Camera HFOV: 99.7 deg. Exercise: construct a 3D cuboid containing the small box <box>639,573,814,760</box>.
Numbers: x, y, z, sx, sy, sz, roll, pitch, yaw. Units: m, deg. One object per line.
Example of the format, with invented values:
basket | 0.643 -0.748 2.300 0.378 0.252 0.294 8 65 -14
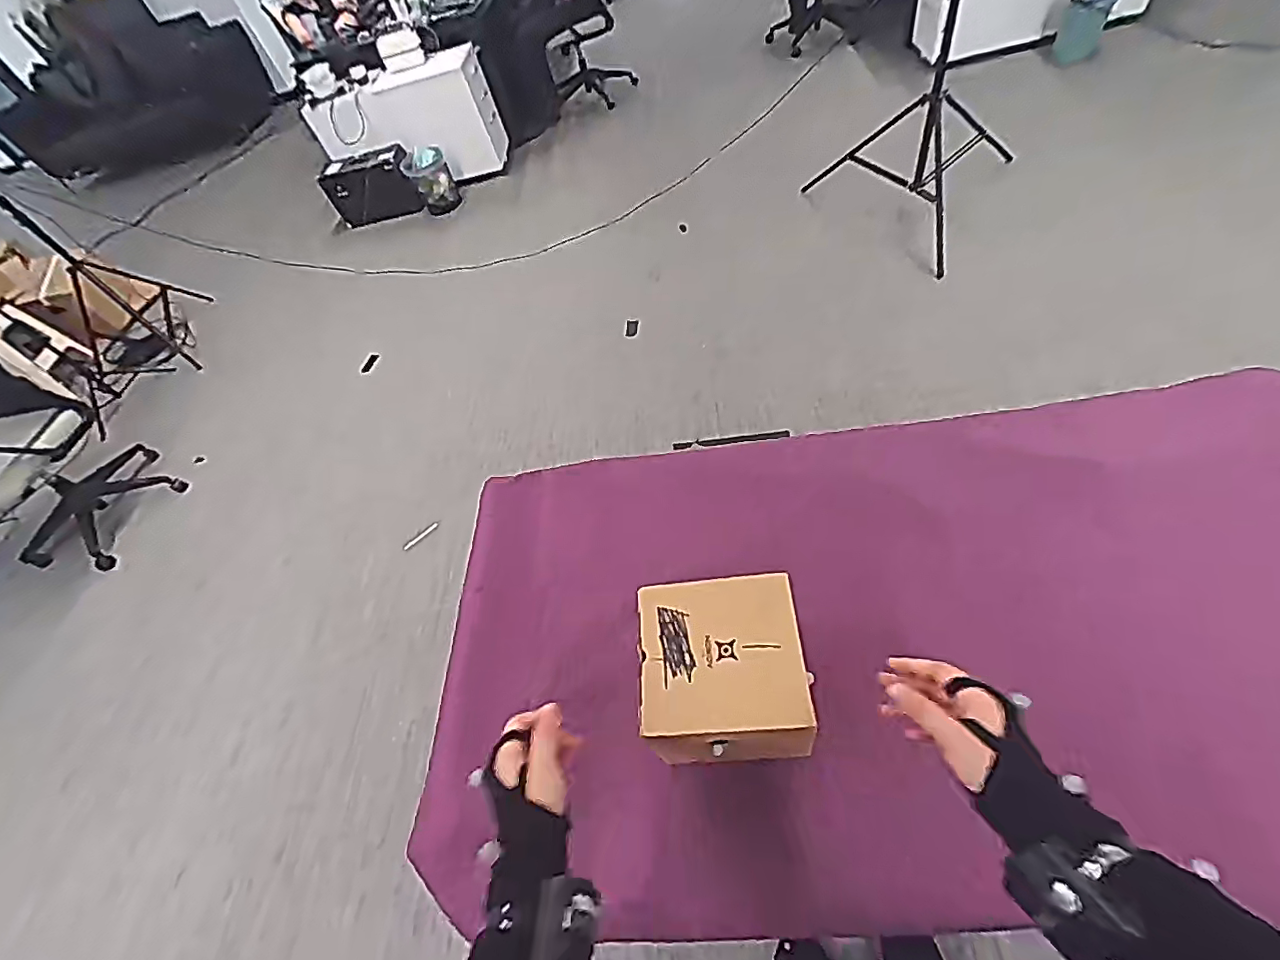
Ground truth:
small box | 0.102 0.229 0.645 0.179 0.176 0.168 -7 54 9
